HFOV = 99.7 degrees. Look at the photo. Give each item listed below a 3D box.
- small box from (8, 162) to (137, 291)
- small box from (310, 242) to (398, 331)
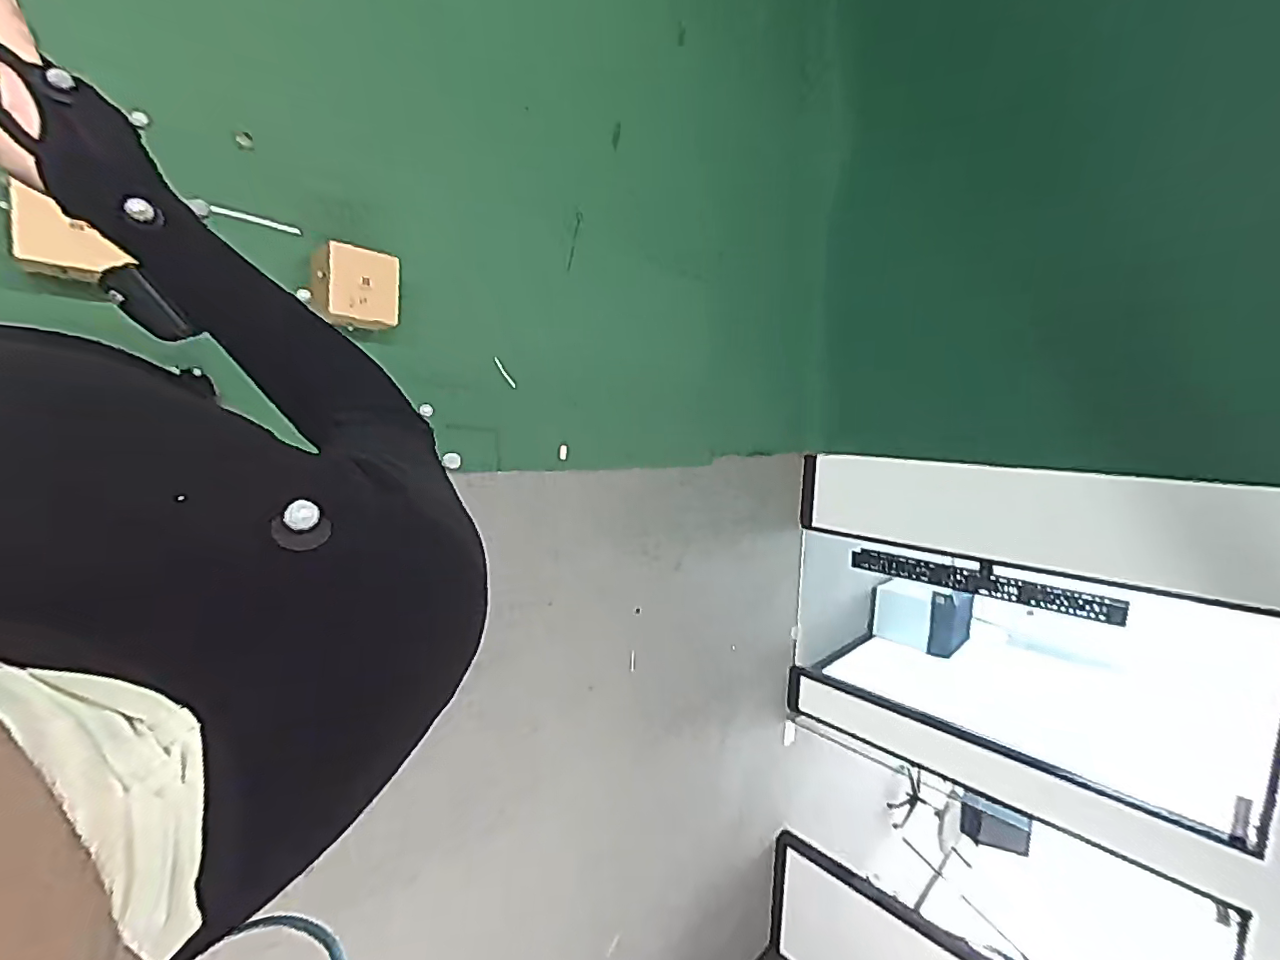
[{"bbox_3d":[-1.112,-0.485,1.070,0.168,0.176,0.179,-4,98,-44],"label":"small box"},{"bbox_3d":[-0.755,-0.500,1.423,0.168,0.176,0.179,-2,97,-45],"label":"small box"}]
